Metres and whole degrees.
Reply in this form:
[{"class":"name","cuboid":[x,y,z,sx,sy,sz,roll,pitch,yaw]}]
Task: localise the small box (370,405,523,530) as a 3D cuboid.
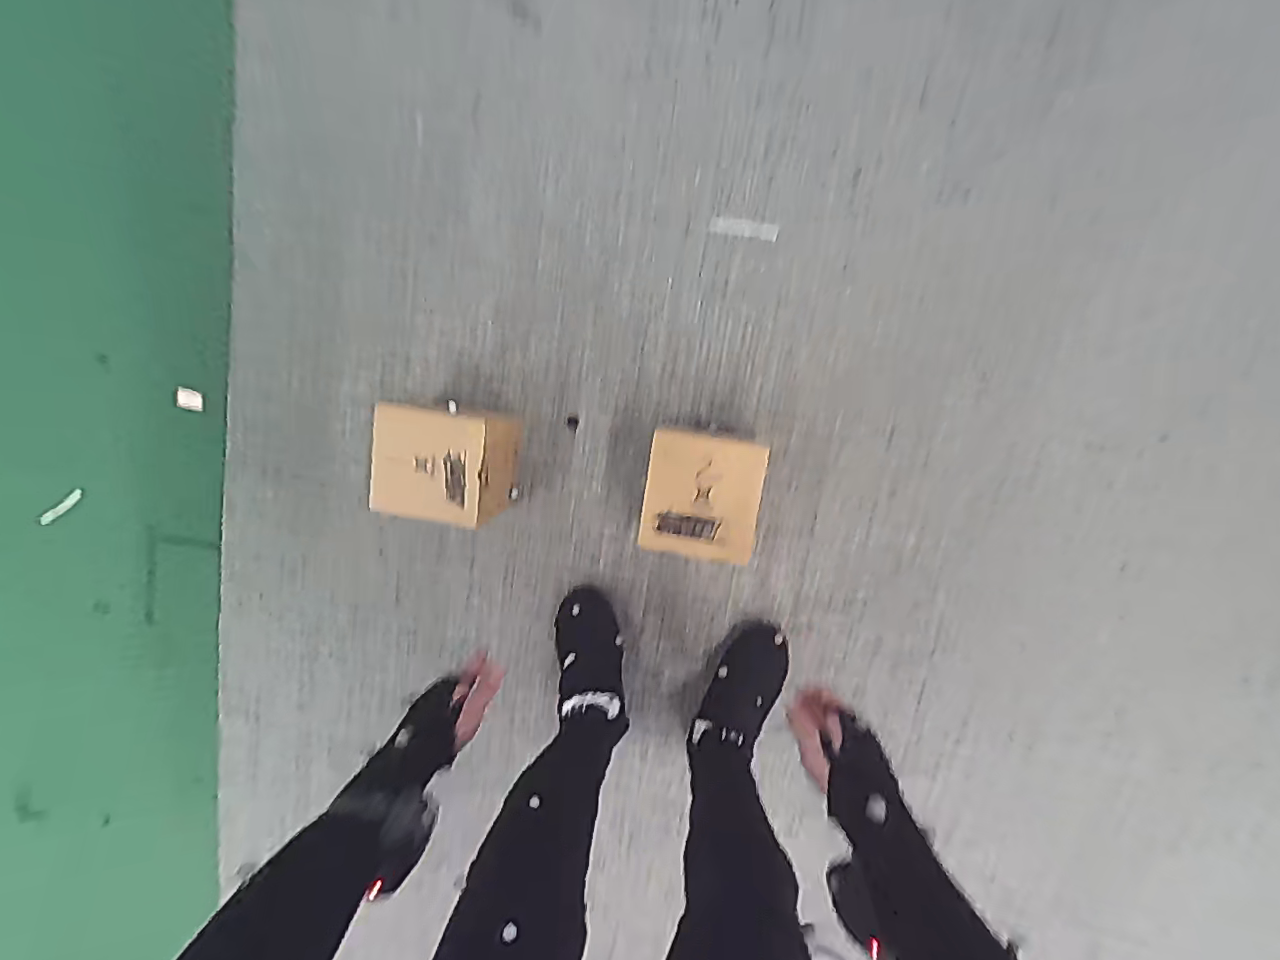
[{"class":"small box","cuboid":[-0.304,-0.029,0.879,0.179,0.176,0.168,10,98,5]}]
